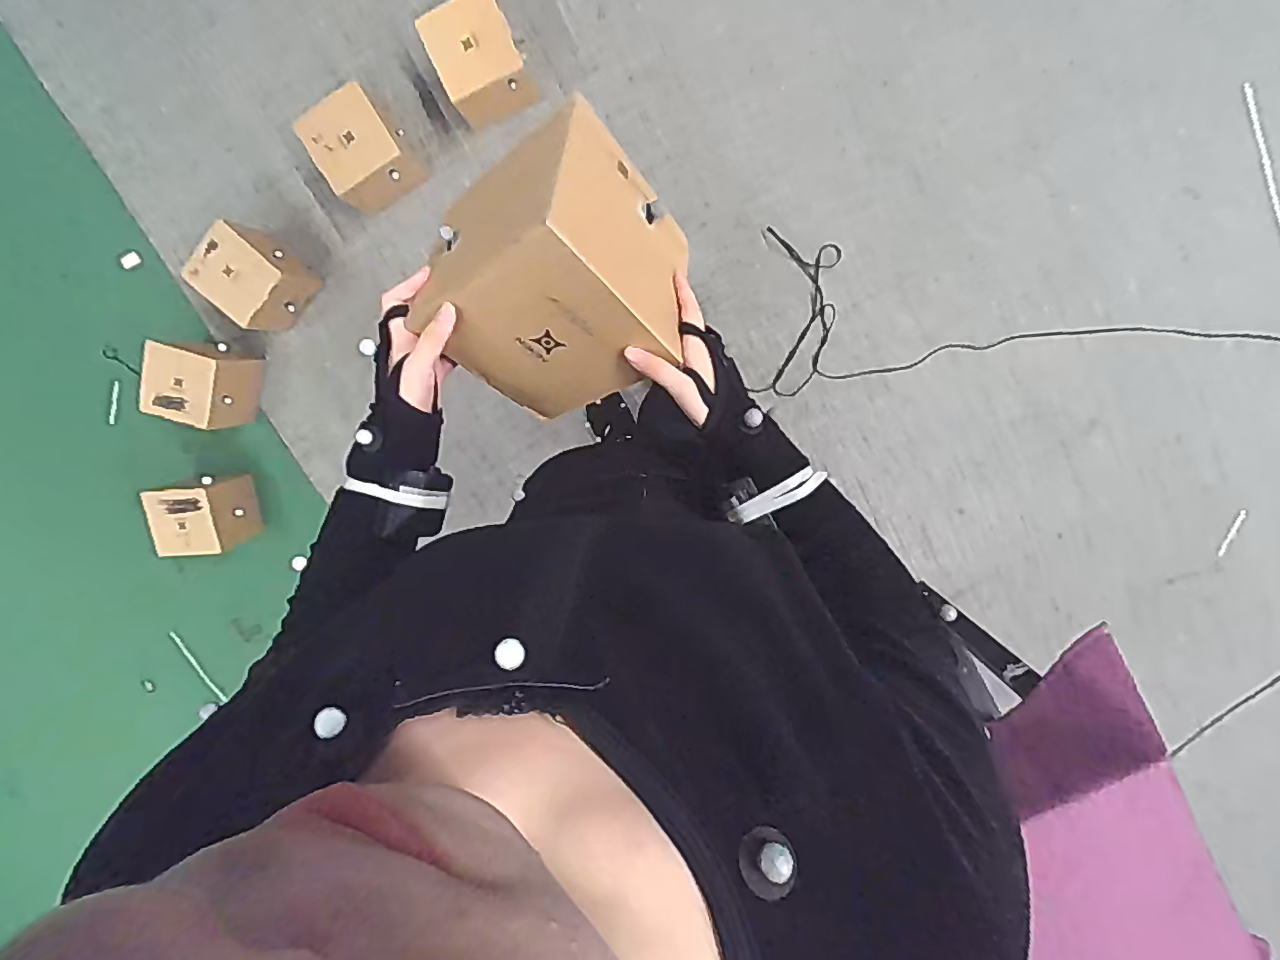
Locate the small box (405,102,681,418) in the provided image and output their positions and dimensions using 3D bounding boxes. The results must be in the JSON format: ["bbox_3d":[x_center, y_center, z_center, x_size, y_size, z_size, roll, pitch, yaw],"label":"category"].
[{"bbox_3d":[-0.075,-0.188,0.498,0.179,0.176,0.168,-16,145,33],"label":"small box"}]

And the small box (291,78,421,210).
[{"bbox_3d":[-0.628,-0.751,1.229,0.179,0.176,0.168,-29,101,6],"label":"small box"}]

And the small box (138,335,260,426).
[{"bbox_3d":[-1.093,-0.251,1.352,0.168,0.176,0.179,17,102,-4],"label":"small box"}]

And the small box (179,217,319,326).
[{"bbox_3d":[-0.921,-0.490,1.294,0.179,0.176,0.168,43,100,-10],"label":"small box"}]

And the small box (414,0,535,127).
[{"bbox_3d":[-0.353,-0.923,1.191,0.179,0.176,0.168,-23,103,5],"label":"small box"}]
